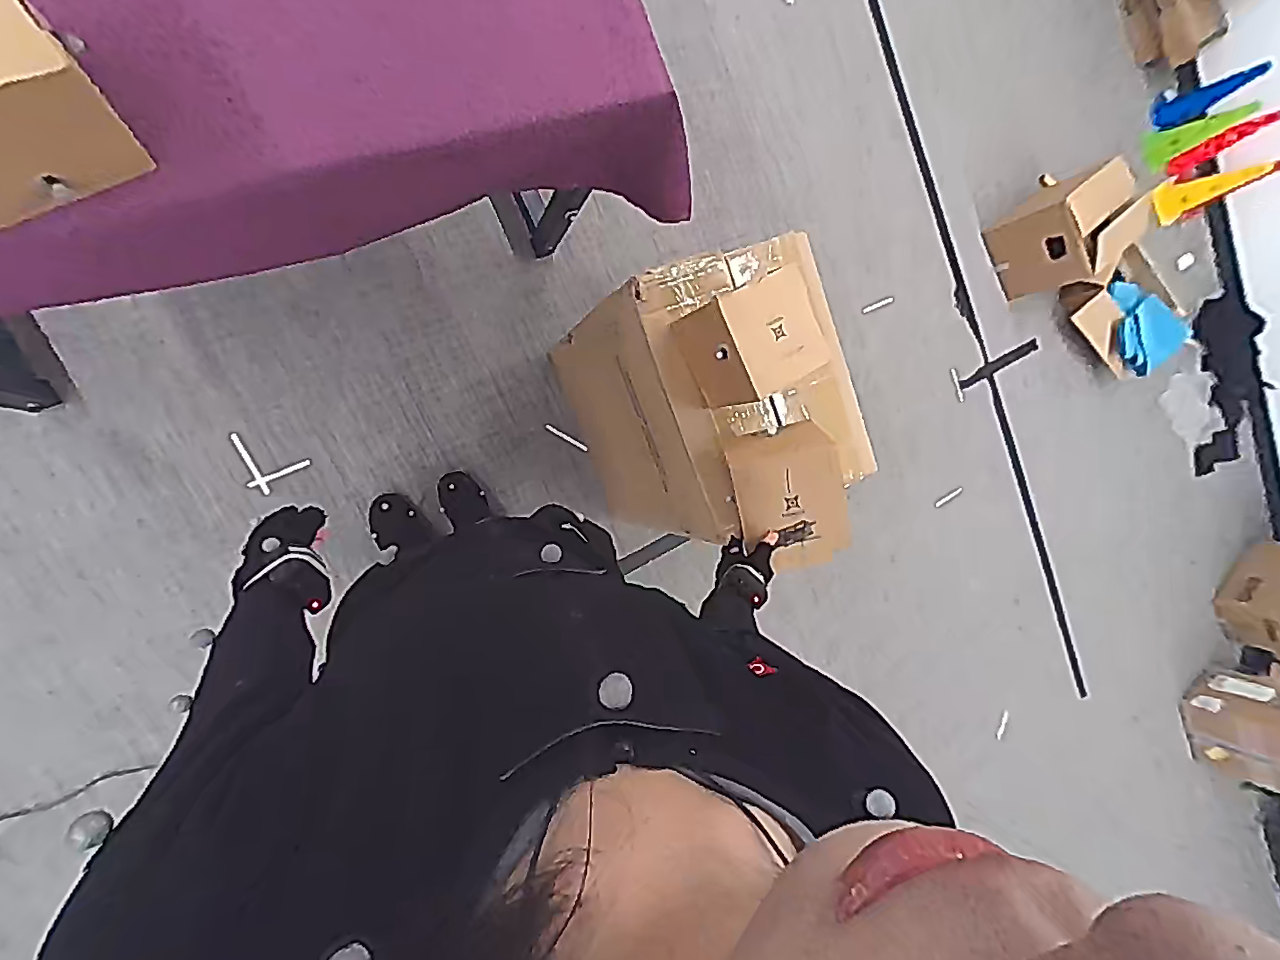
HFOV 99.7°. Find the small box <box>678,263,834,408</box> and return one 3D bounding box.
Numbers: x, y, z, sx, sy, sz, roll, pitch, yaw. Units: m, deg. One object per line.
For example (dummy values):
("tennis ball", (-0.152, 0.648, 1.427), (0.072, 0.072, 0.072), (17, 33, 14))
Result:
("small box", (0.190, -0.238, 0.931), (0.168, 0.176, 0.179), (-30, 103, -17))

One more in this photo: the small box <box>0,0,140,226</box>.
("small box", (-0.609, -0.365, 0.484), (0.179, 0.176, 0.168), (-37, 103, -19))

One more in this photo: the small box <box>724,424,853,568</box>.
("small box", (0.241, 0.020, 0.903), (0.168, 0.176, 0.179), (-12, 107, 6))
